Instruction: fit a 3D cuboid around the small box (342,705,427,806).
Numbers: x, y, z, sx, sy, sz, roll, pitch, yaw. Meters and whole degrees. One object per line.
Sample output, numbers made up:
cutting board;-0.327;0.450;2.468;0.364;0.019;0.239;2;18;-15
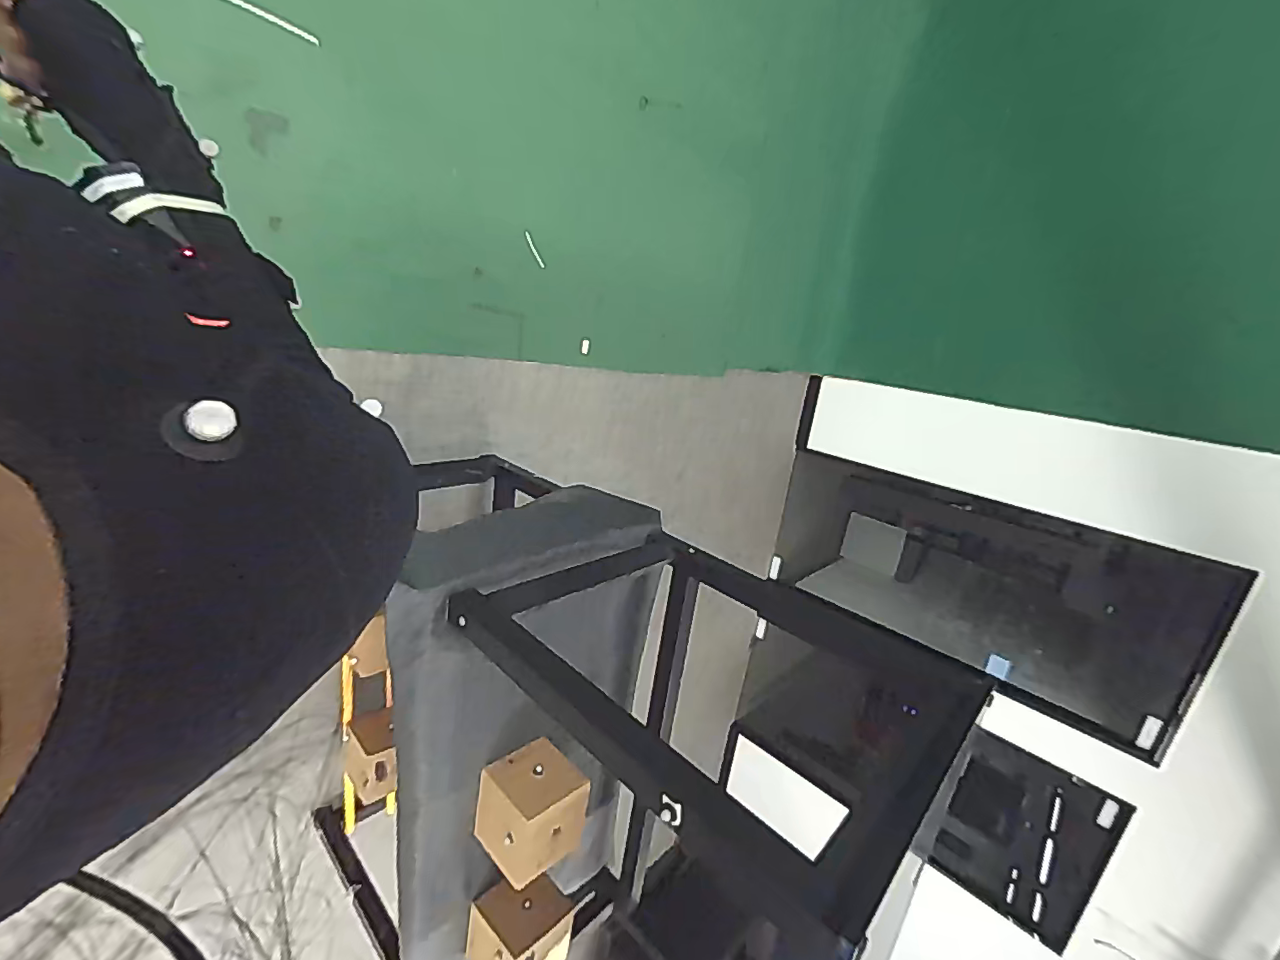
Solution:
small box;-0.755;0.801;1.590;0.179;0.176;0.168;-5;111;-48

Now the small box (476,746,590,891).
small box;-0.232;0.703;1.154;0.168;0.176;0.179;-6;111;-48
